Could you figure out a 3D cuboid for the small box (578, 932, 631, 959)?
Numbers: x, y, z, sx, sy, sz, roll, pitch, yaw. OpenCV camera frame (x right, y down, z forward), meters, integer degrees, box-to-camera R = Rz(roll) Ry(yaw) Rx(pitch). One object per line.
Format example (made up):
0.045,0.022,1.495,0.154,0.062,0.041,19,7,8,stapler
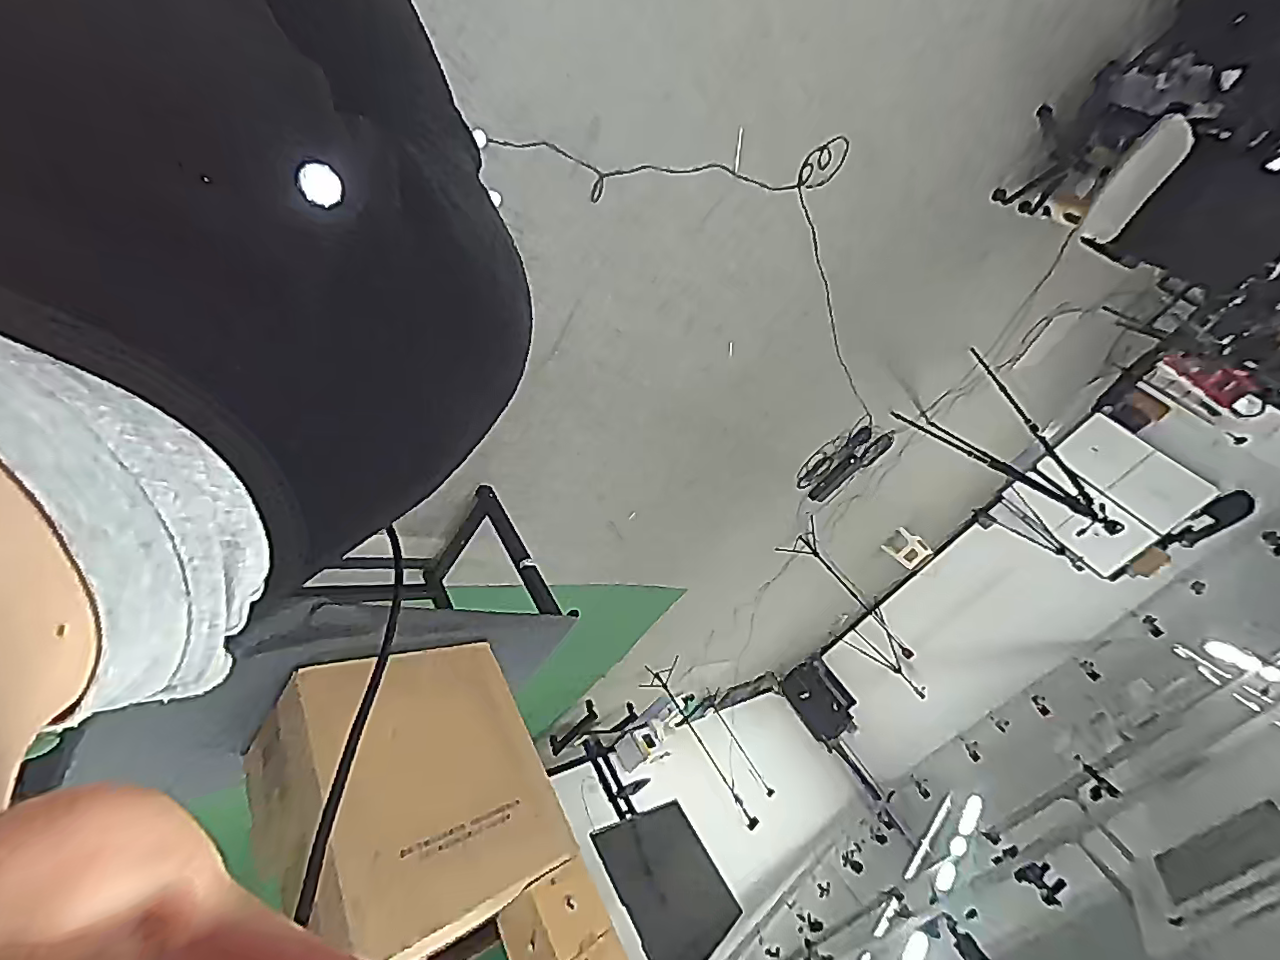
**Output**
-0.104,1.152,1.188,0.168,0.176,0.179,7,126,-51,small box

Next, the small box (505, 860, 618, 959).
-0.192,1.042,1.274,0.168,0.176,0.179,6,127,-49,small box
